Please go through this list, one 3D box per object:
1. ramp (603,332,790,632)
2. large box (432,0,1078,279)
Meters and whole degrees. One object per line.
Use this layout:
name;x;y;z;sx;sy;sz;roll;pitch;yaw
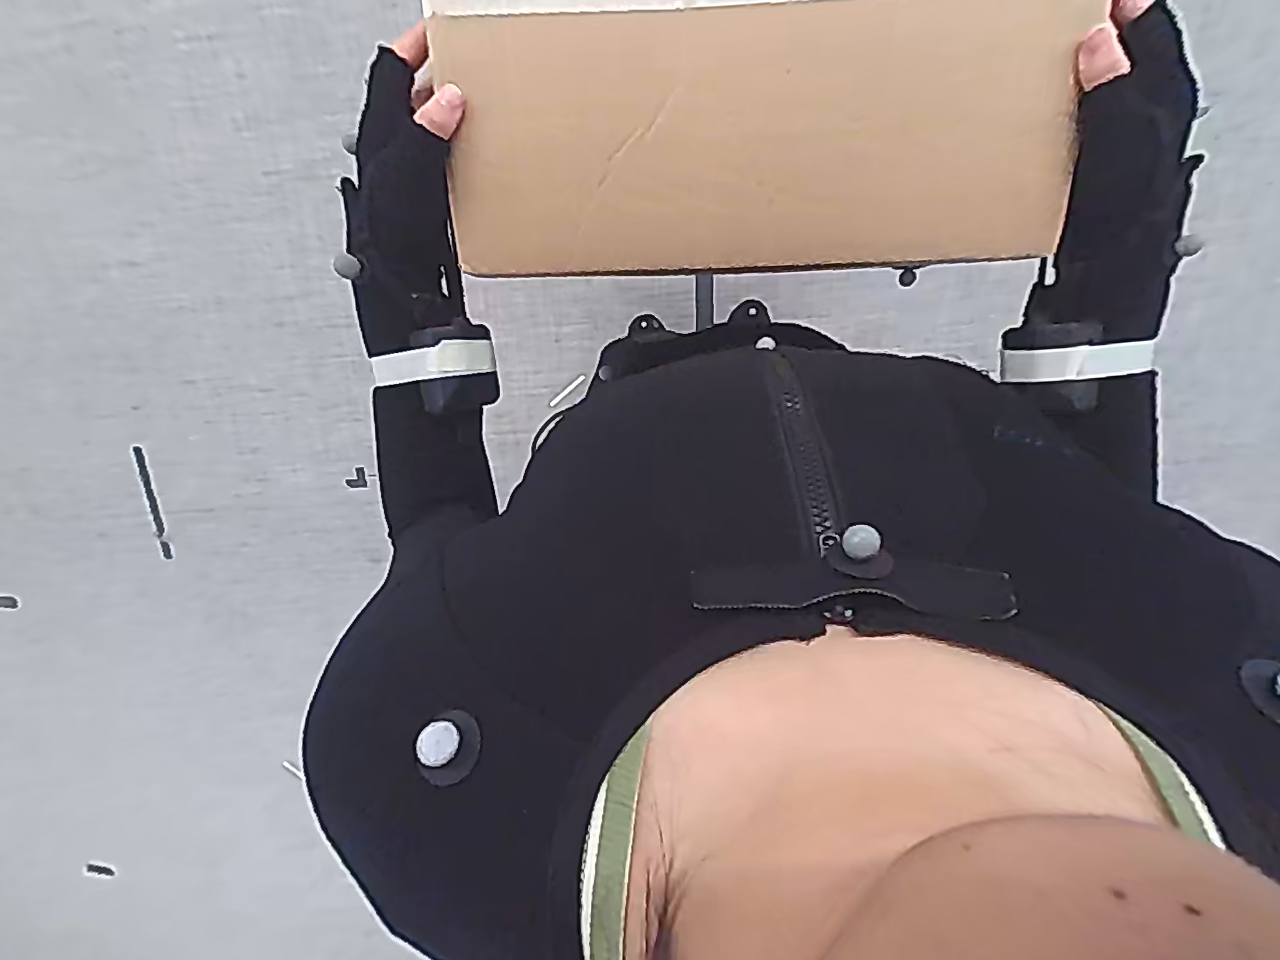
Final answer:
ramp;0.176;0.070;1.631;0.509;0.206;0.991;-4;107;3
large box;0.072;-0.349;0.466;0.408;0.320;0.320;-2;110;0
